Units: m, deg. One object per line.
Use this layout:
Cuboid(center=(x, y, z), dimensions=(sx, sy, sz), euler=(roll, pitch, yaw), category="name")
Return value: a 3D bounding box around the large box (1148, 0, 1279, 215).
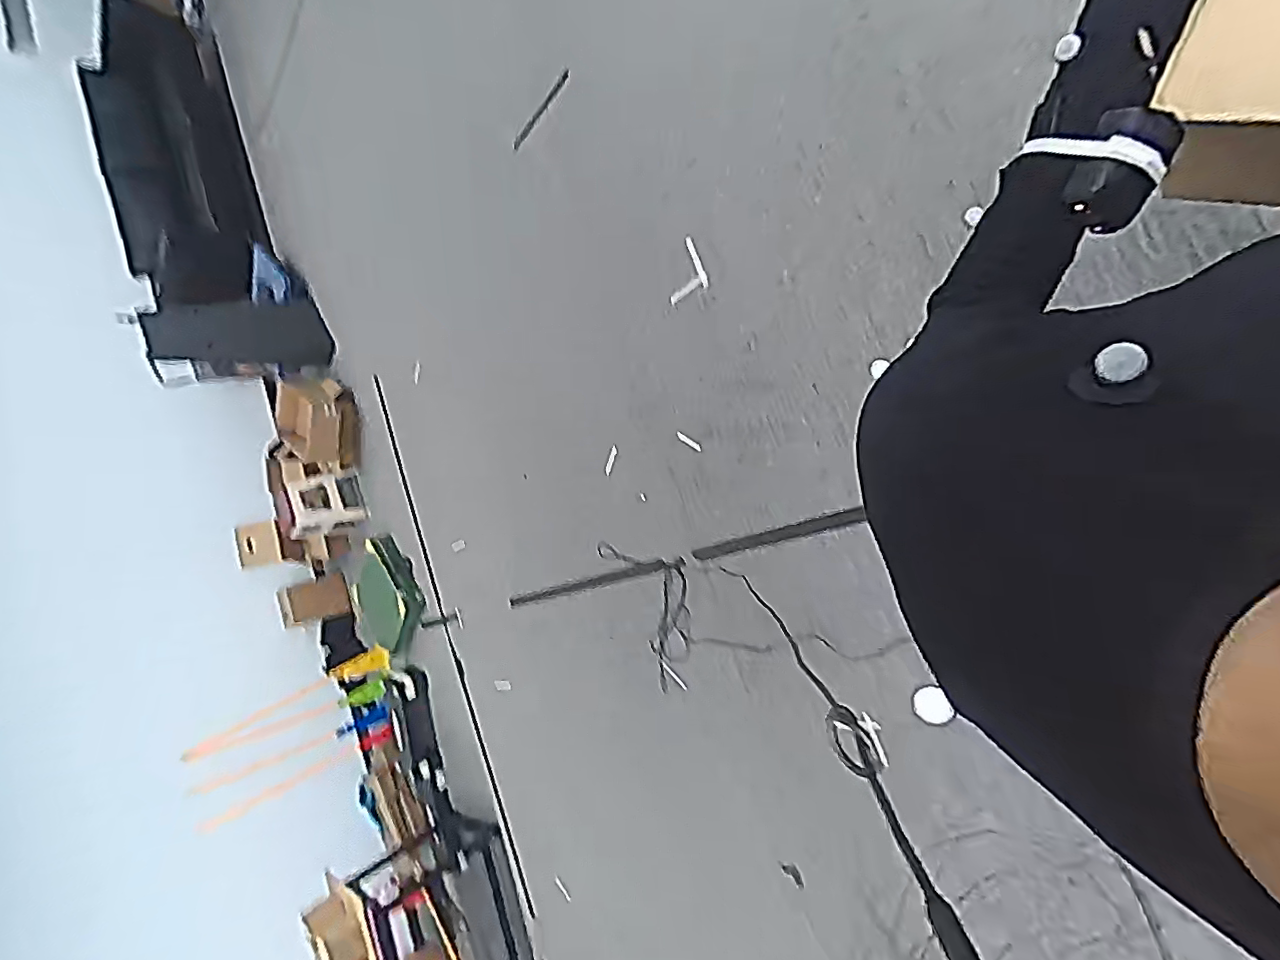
Cuboid(center=(0.620, -0.342, 0.315), dimensions=(0.408, 0.320, 0.320), euler=(27, 119, 36), category="large box")
